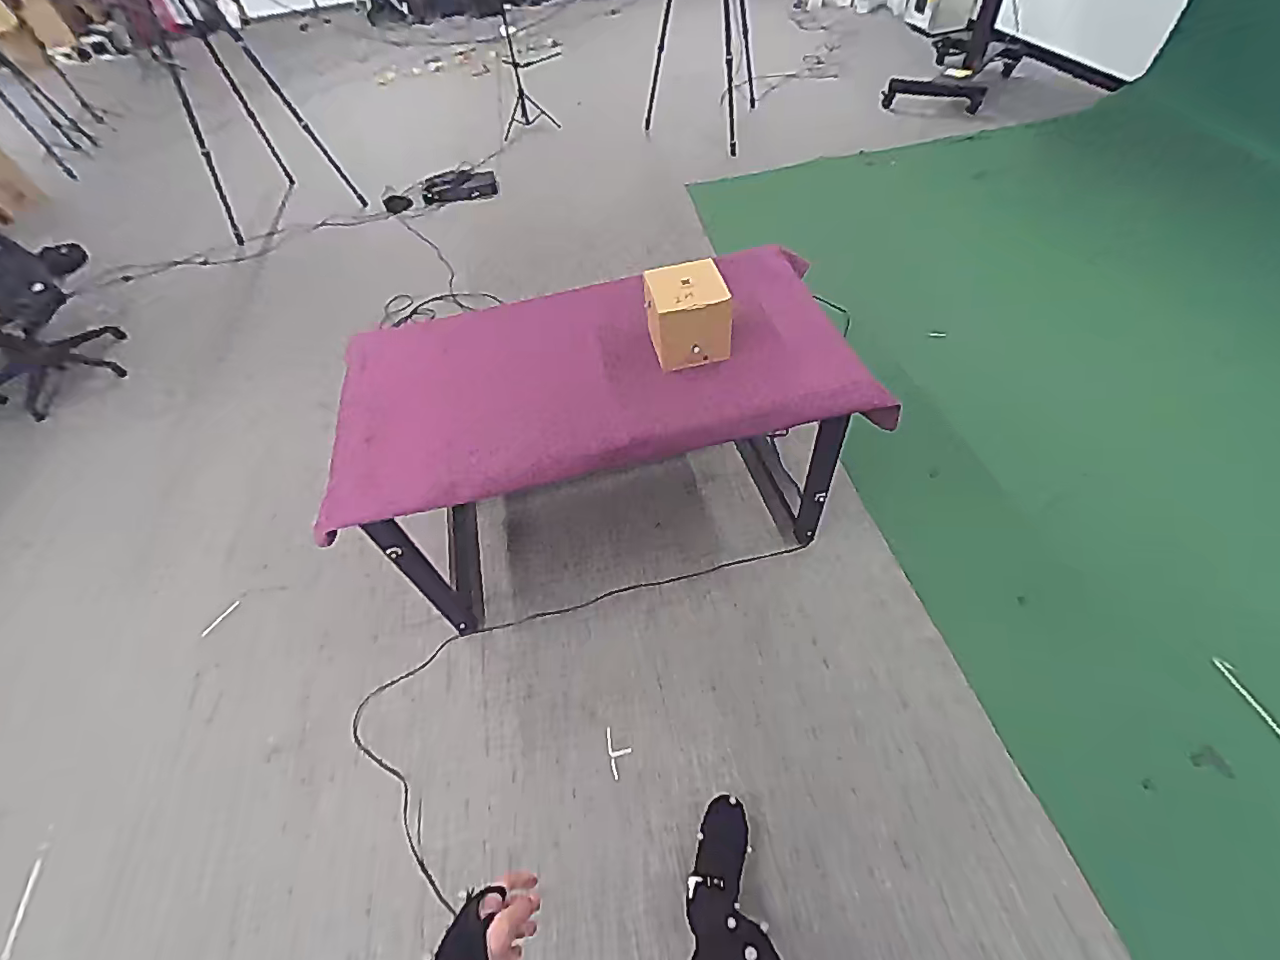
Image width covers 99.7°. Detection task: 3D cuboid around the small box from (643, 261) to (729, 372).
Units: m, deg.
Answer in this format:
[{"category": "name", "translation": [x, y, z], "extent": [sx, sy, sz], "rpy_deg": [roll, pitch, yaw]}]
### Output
[{"category": "small box", "translation": [0.106, -0.384, 1.277], "extent": [0.168, 0.176, 0.179], "rpy_deg": [-12, 53, -2]}]
